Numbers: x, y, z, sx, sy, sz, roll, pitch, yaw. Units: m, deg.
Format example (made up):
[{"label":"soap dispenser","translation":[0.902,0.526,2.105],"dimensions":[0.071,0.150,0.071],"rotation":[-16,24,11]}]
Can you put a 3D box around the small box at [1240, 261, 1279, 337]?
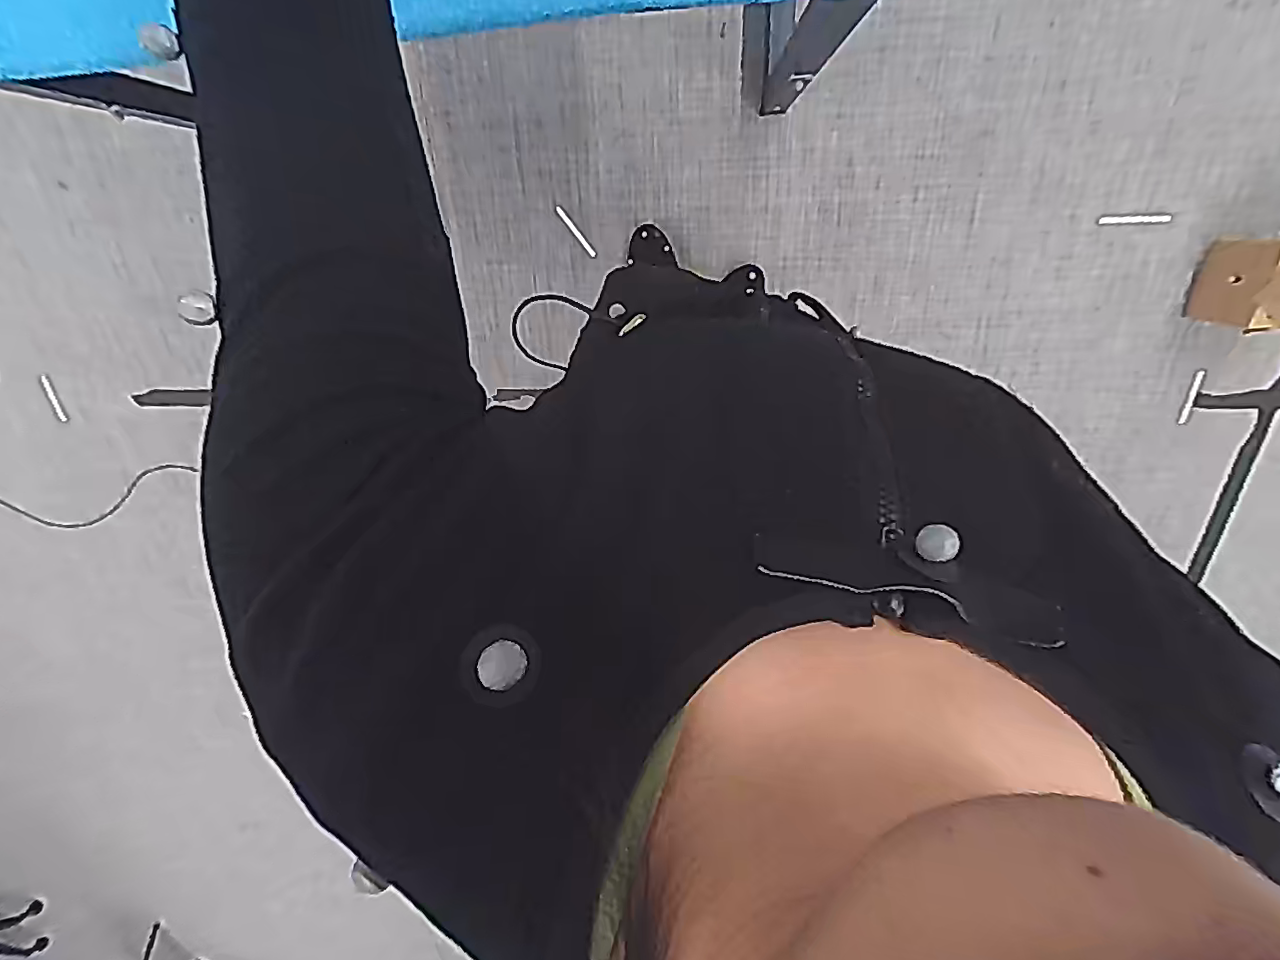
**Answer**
[{"label":"small box","translation":[1.360,-0.369,1.037],"dimensions":[0.168,0.176,0.179],"rotation":[34,112,-12]}]

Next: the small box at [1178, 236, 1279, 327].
[{"label":"small box","translation":[1.358,-0.440,1.189],"dimensions":[0.168,0.176,0.179],"rotation":[2,114,3]}]
